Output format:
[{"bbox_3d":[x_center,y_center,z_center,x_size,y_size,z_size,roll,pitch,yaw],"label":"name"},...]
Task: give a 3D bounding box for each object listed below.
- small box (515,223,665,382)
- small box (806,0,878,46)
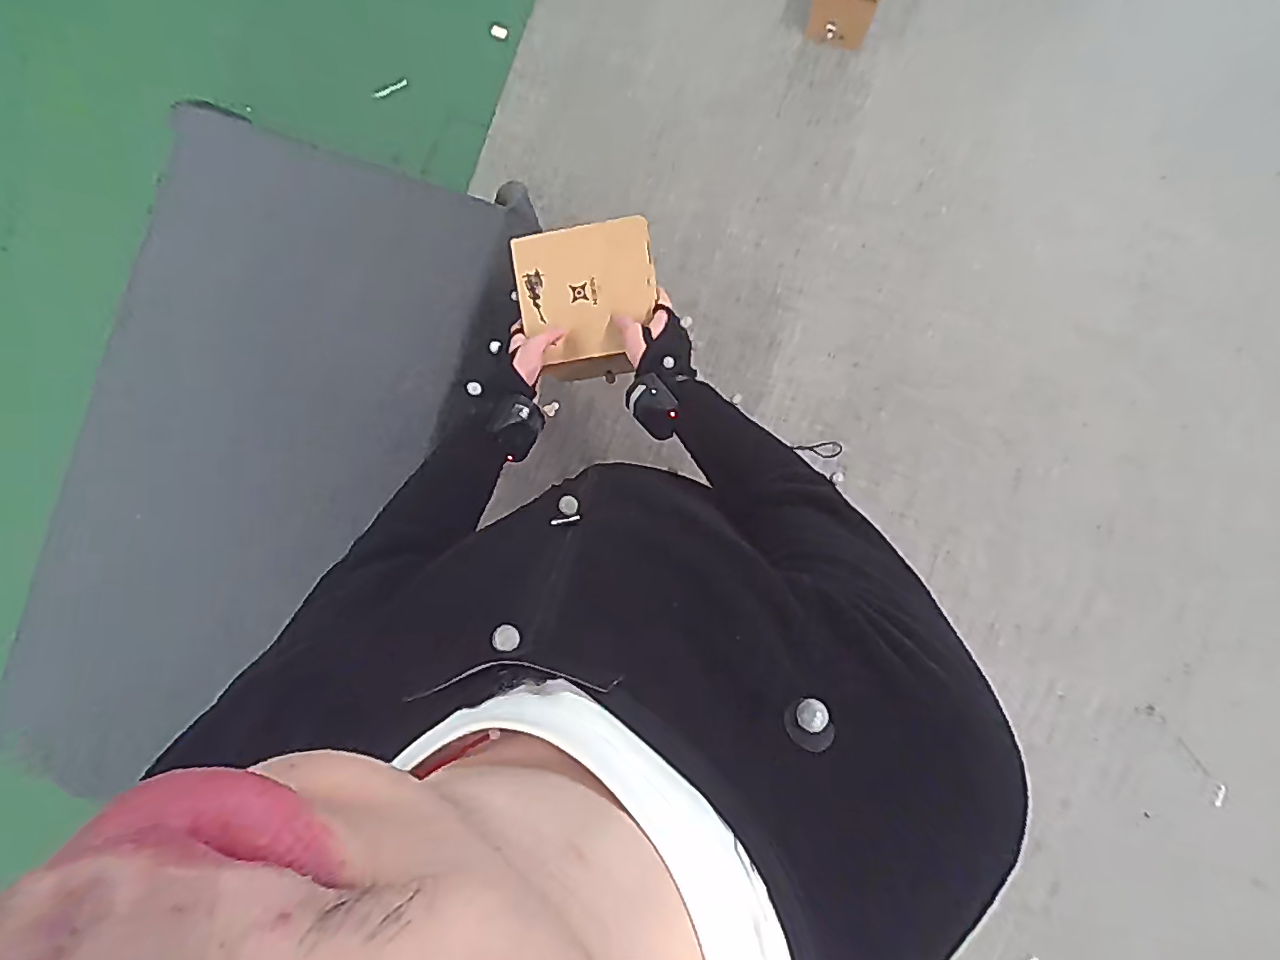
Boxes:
[{"bbox_3d":[-0.060,-0.238,0.765,0.179,0.176,0.168,-7,92,4],"label":"small box"},{"bbox_3d":[0.552,-1.306,1.418,0.168,0.176,0.179,22,93,7],"label":"small box"}]
